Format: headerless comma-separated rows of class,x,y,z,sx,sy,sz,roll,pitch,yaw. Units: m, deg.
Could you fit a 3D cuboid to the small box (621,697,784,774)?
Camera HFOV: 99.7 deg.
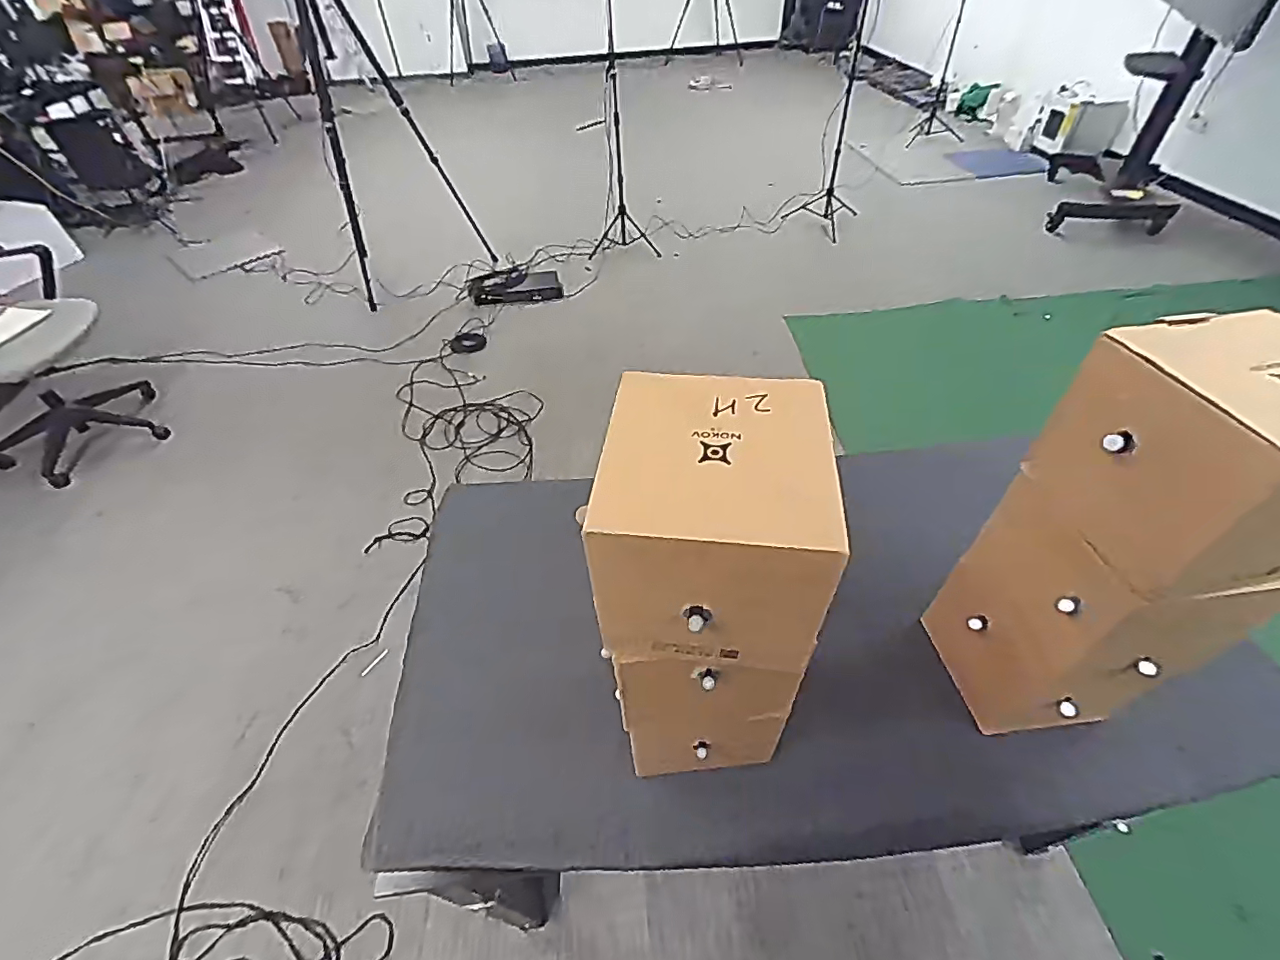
small box,0.064,0.252,0.682,0.179,0.176,0.168,-6,46,-1

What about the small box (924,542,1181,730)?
small box,0.507,0.207,0.700,0.168,0.176,0.179,-6,45,-2

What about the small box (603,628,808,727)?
small box,0.054,0.142,0.562,0.179,0.176,0.168,-4,47,-2

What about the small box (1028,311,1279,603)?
small box,0.490,-0.021,0.464,0.168,0.176,0.179,-9,45,-4

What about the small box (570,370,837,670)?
small box,0.052,0.034,0.439,0.168,0.176,0.179,5,47,7
